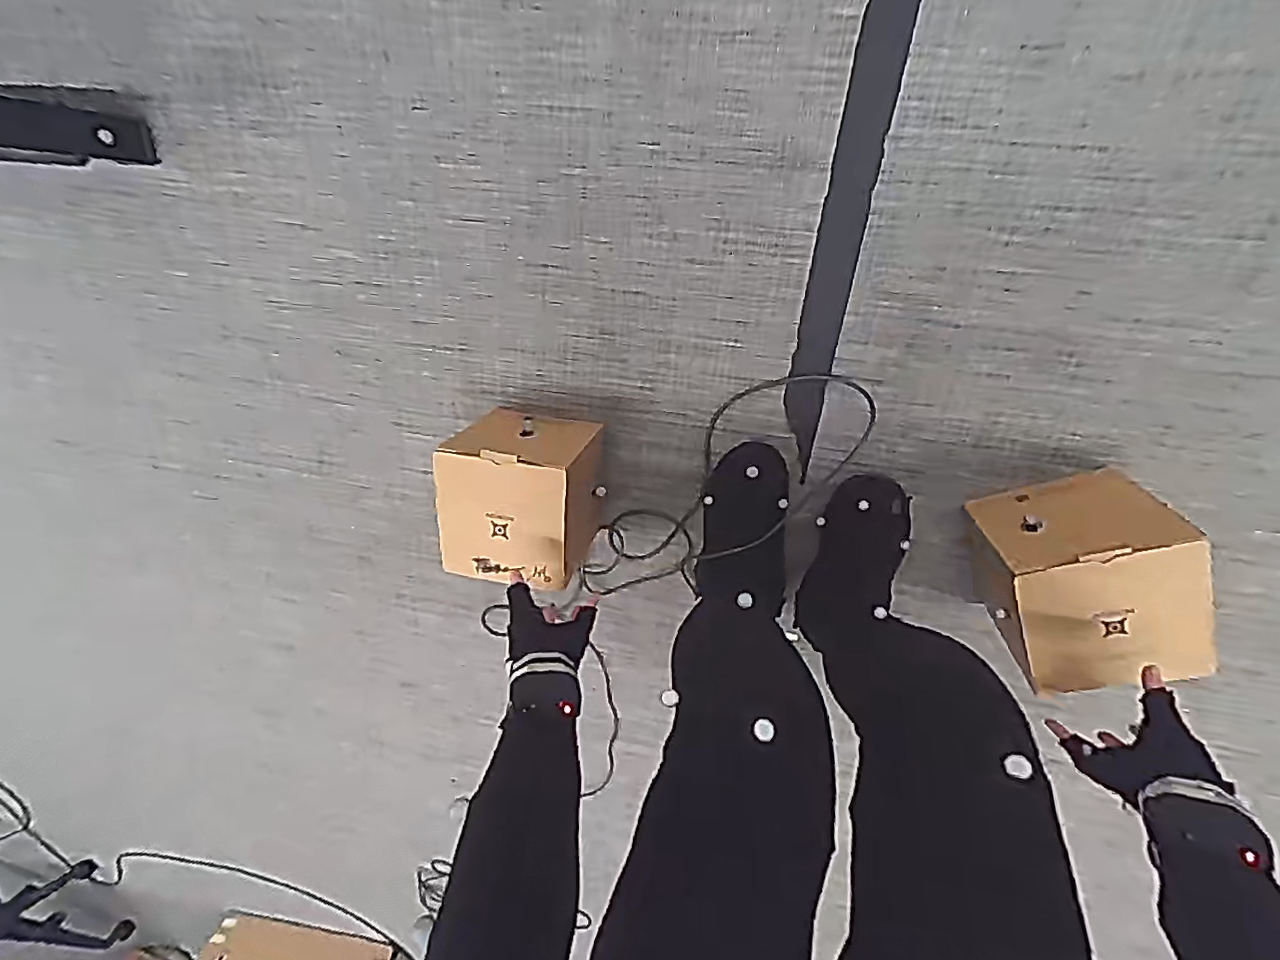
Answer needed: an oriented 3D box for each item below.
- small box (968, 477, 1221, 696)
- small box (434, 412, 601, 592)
[{"bbox_3d":[0.504,0.112,0.623,0.168,0.176,0.179,-17,111,21],"label":"small box"},{"bbox_3d":[-0.153,0.018,0.719,0.168,0.176,0.179,9,114,8],"label":"small box"}]
